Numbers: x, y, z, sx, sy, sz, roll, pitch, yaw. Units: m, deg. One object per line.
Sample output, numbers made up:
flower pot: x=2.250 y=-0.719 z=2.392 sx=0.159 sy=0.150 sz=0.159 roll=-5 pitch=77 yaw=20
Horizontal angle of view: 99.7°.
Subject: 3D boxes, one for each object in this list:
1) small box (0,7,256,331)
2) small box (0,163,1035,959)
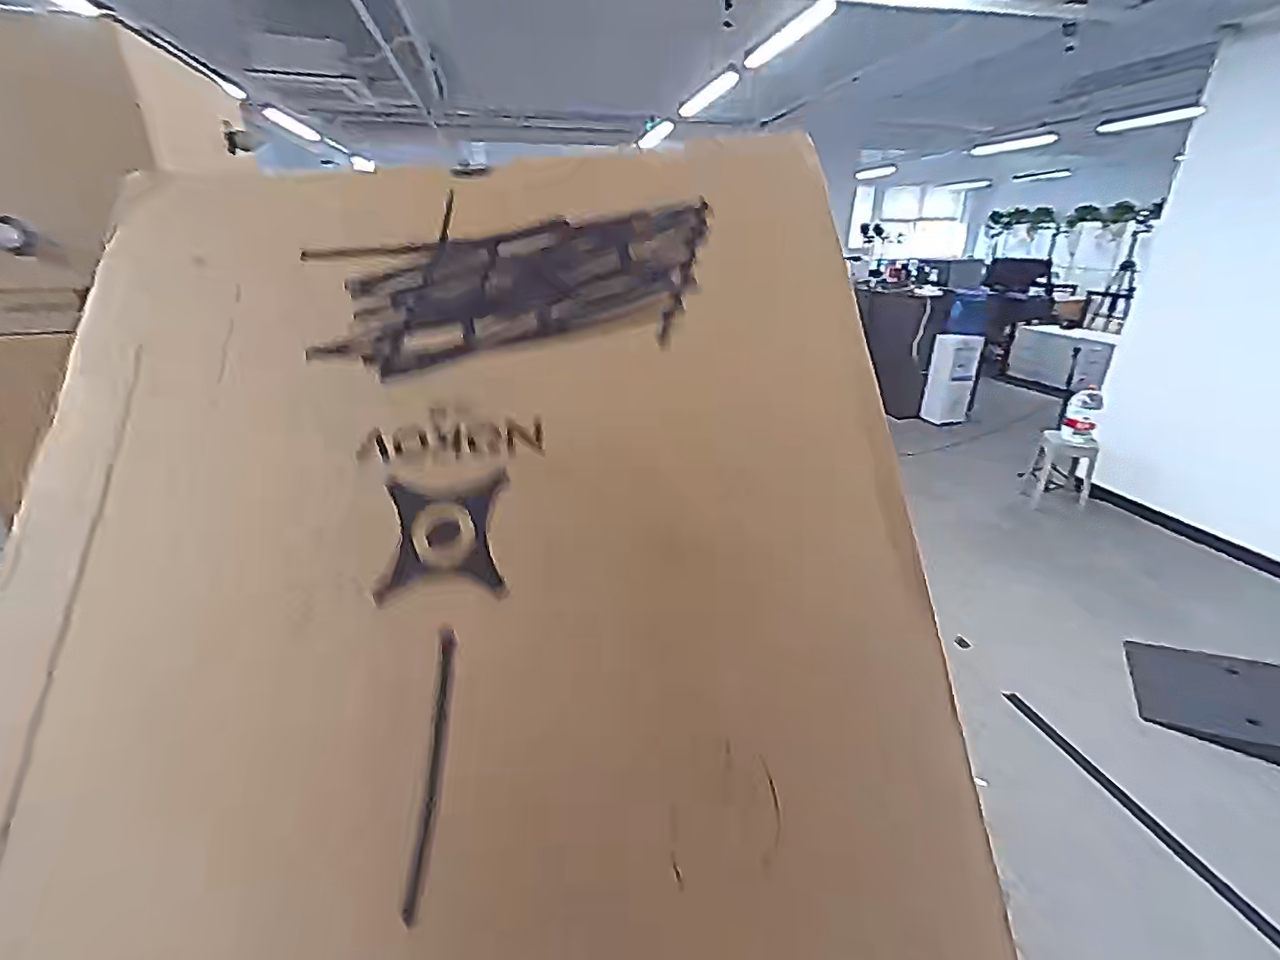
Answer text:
small box: x=-0.388 y=-0.201 z=0.381 sx=0.168 sy=0.176 sz=0.179 roll=-7 pitch=25 yaw=-14
small box: x=-0.028 y=0.035 z=0.176 sx=0.168 sy=0.179 sz=0.176 roll=-3 pitch=-20 yaw=0
